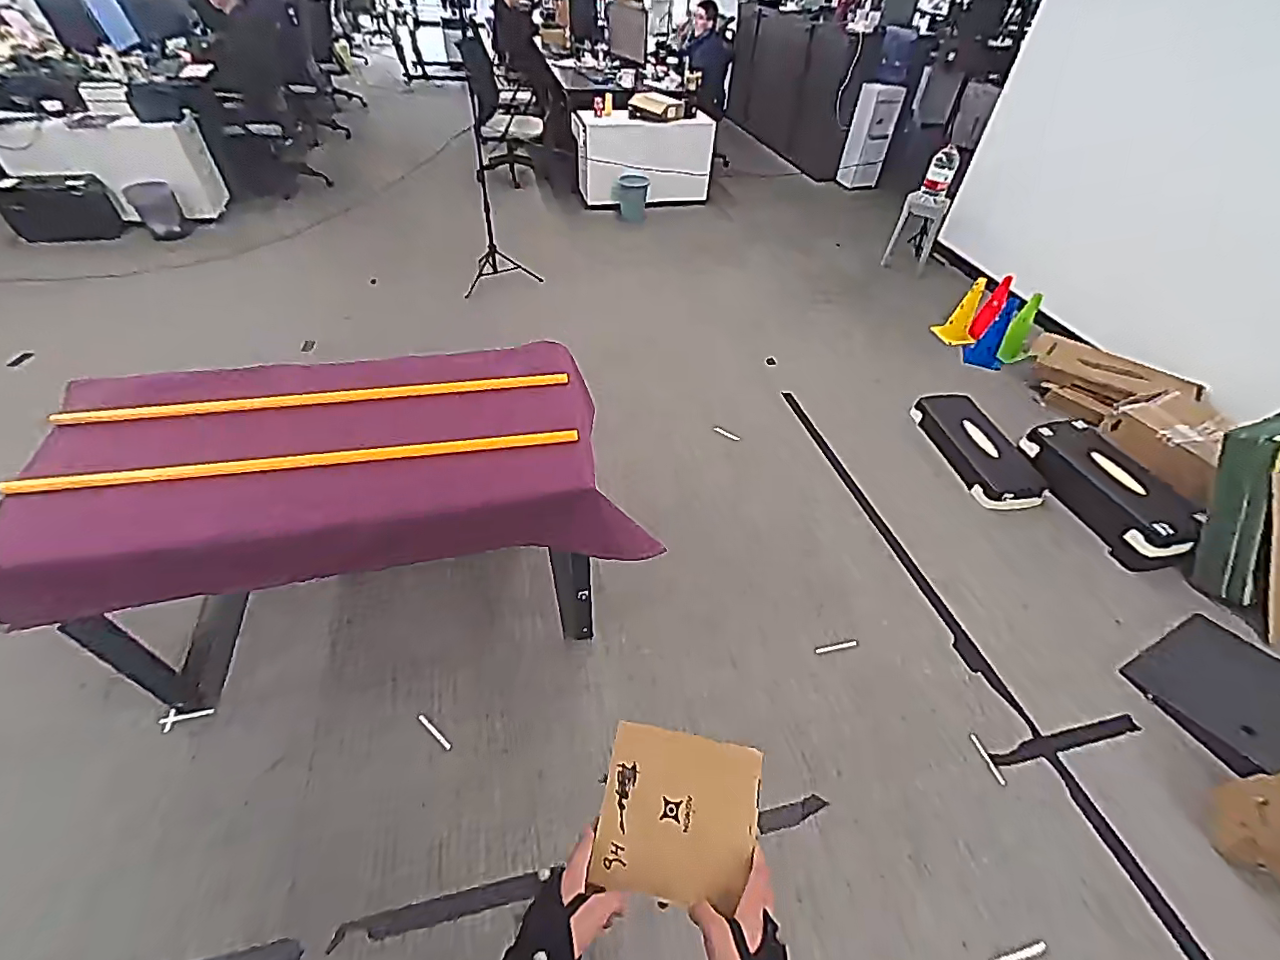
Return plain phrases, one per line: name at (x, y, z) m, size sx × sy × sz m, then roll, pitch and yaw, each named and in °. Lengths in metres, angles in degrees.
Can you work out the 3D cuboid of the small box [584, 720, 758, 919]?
small box at (0.041, 0.420, 0.687) m, size 0.179 × 0.176 × 0.168 m, roll 10°, pitch 59°, yaw 7°
